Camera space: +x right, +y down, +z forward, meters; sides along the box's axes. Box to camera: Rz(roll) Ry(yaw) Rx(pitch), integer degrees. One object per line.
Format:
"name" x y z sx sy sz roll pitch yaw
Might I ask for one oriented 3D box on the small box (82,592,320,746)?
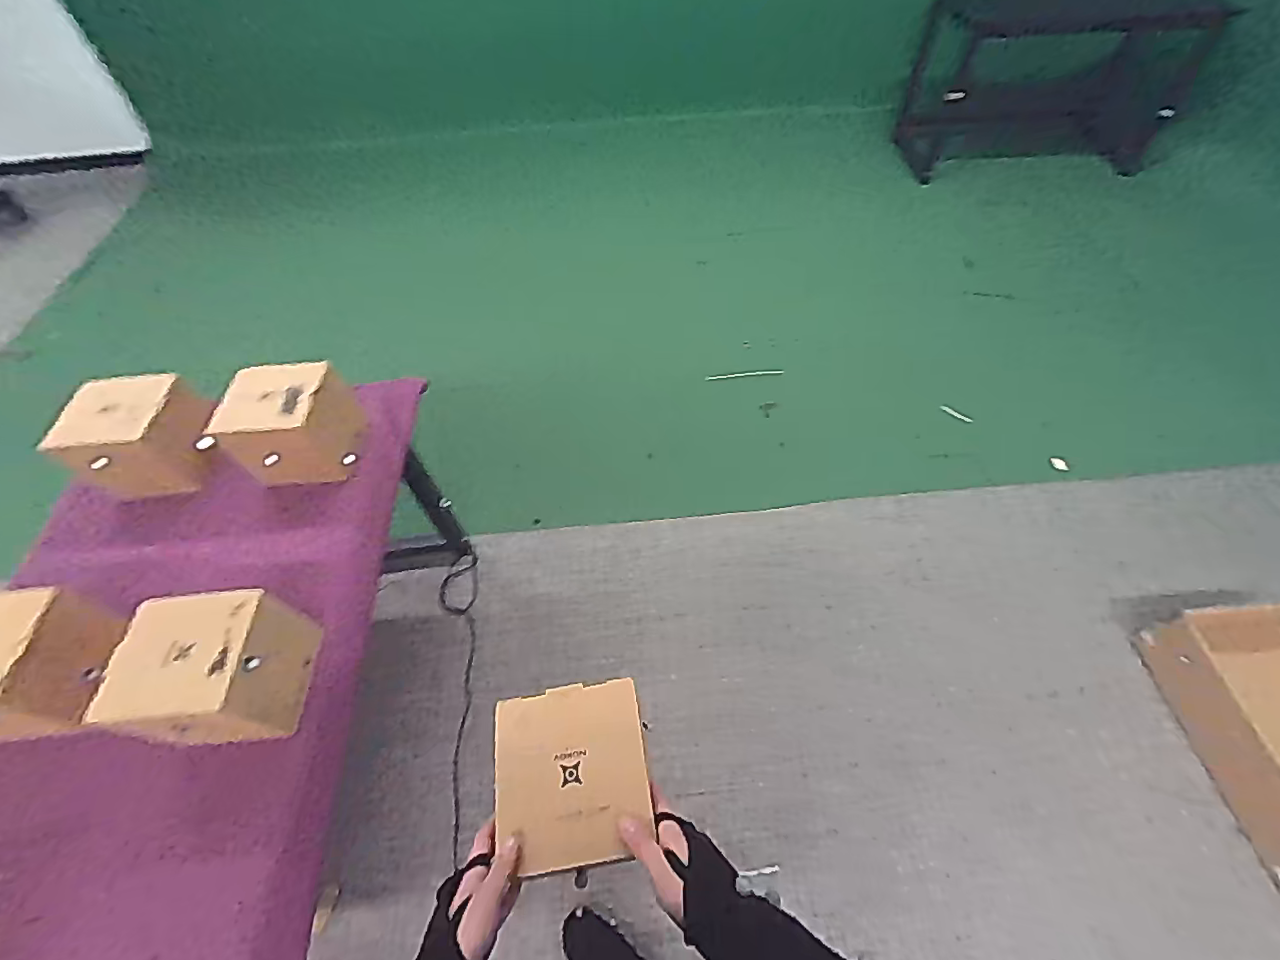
"small box" -0.611 0.278 0.783 0.179 0.176 0.168 -6 55 0

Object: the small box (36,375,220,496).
"small box" -0.966 -0.081 1.048 0.179 0.176 0.168 -5 56 -1

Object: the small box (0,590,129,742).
"small box" -0.925 0.279 0.797 0.179 0.176 0.168 -5 54 -3

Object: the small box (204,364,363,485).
"small box" -0.676 -0.104 1.053 0.179 0.176 0.168 -3 56 2
